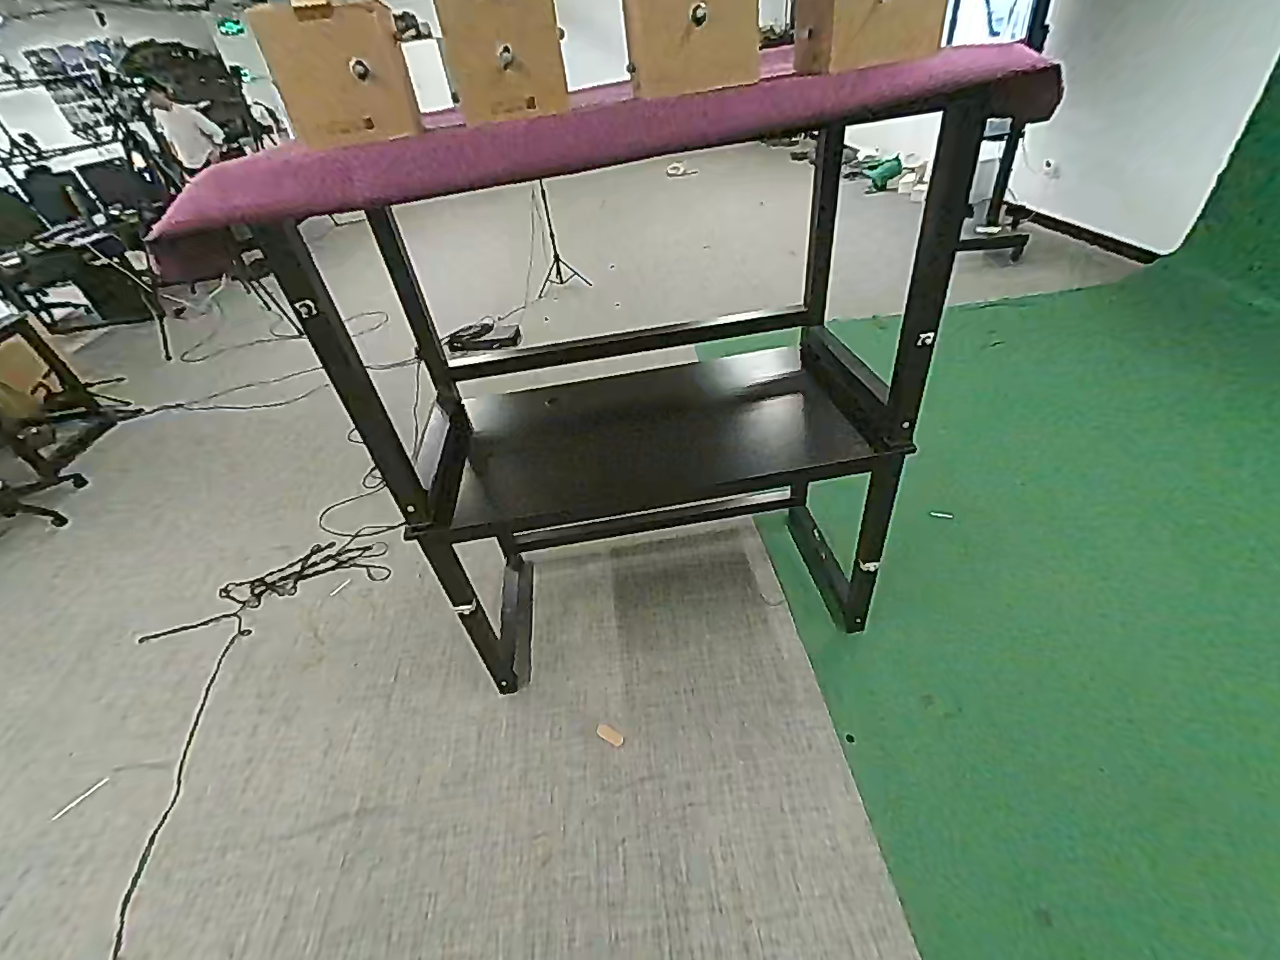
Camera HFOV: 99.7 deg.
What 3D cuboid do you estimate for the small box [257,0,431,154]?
[{"bbox_3d":[-0.438,-0.617,0.838,0.168,0.176,0.179,-12,37,-6],"label":"small box"}]

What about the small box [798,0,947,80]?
[{"bbox_3d":[0.356,-0.738,0.834,0.179,0.176,0.168,-10,38,1],"label":"small box"}]

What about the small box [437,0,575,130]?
[{"bbox_3d":[-0.202,-0.663,0.851,0.168,0.176,0.179,-12,38,-4],"label":"small box"}]
